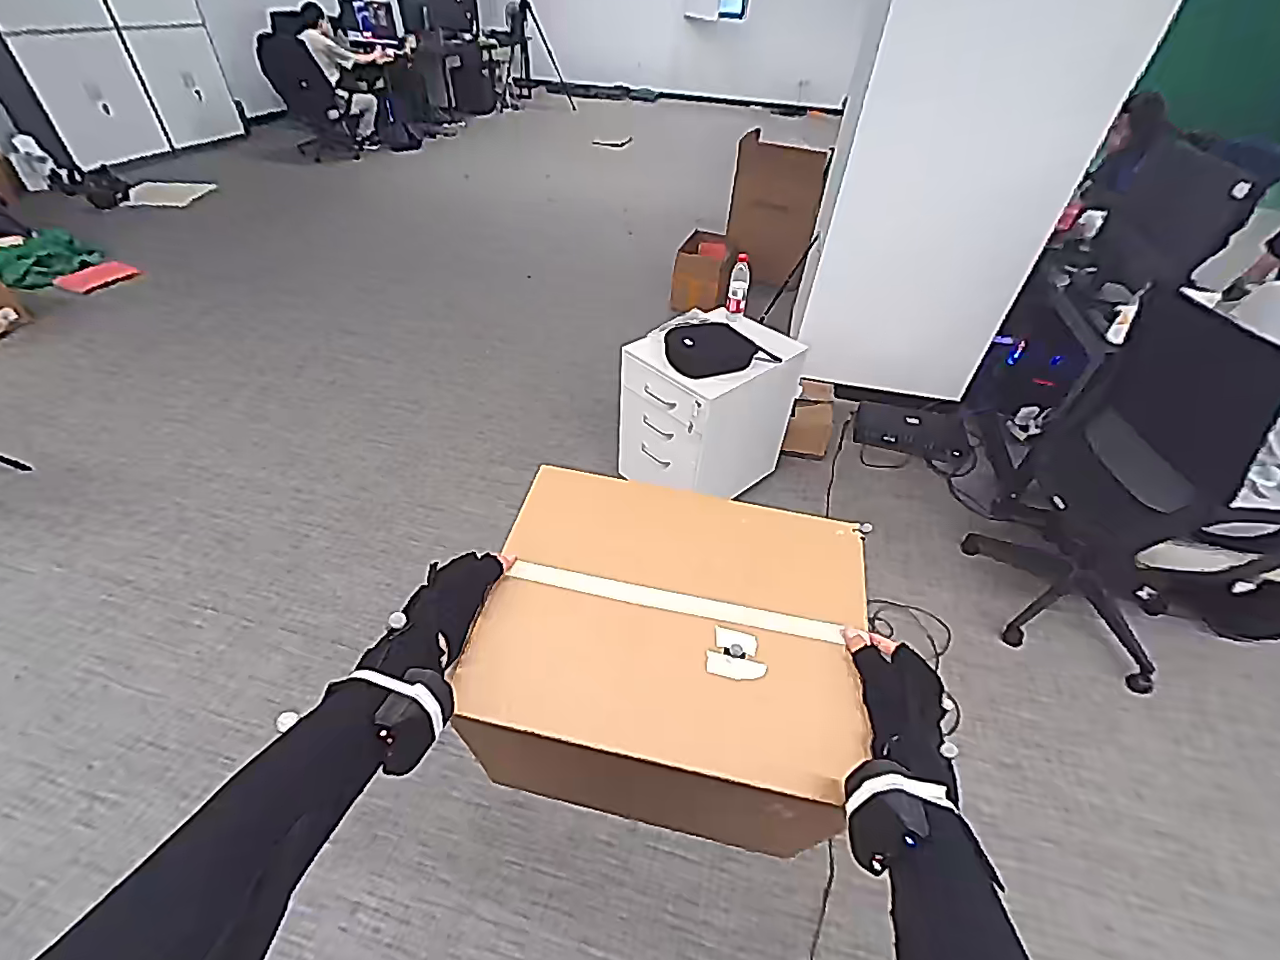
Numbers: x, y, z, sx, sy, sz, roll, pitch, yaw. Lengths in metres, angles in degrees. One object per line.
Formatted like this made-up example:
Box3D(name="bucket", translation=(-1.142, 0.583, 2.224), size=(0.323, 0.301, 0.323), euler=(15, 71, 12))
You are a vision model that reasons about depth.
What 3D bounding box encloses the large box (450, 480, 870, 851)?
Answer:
Box3D(name="large box", translation=(0.029, 0.241, 0.704), size=(0.408, 0.320, 0.320), euler=(11, 50, 5))
